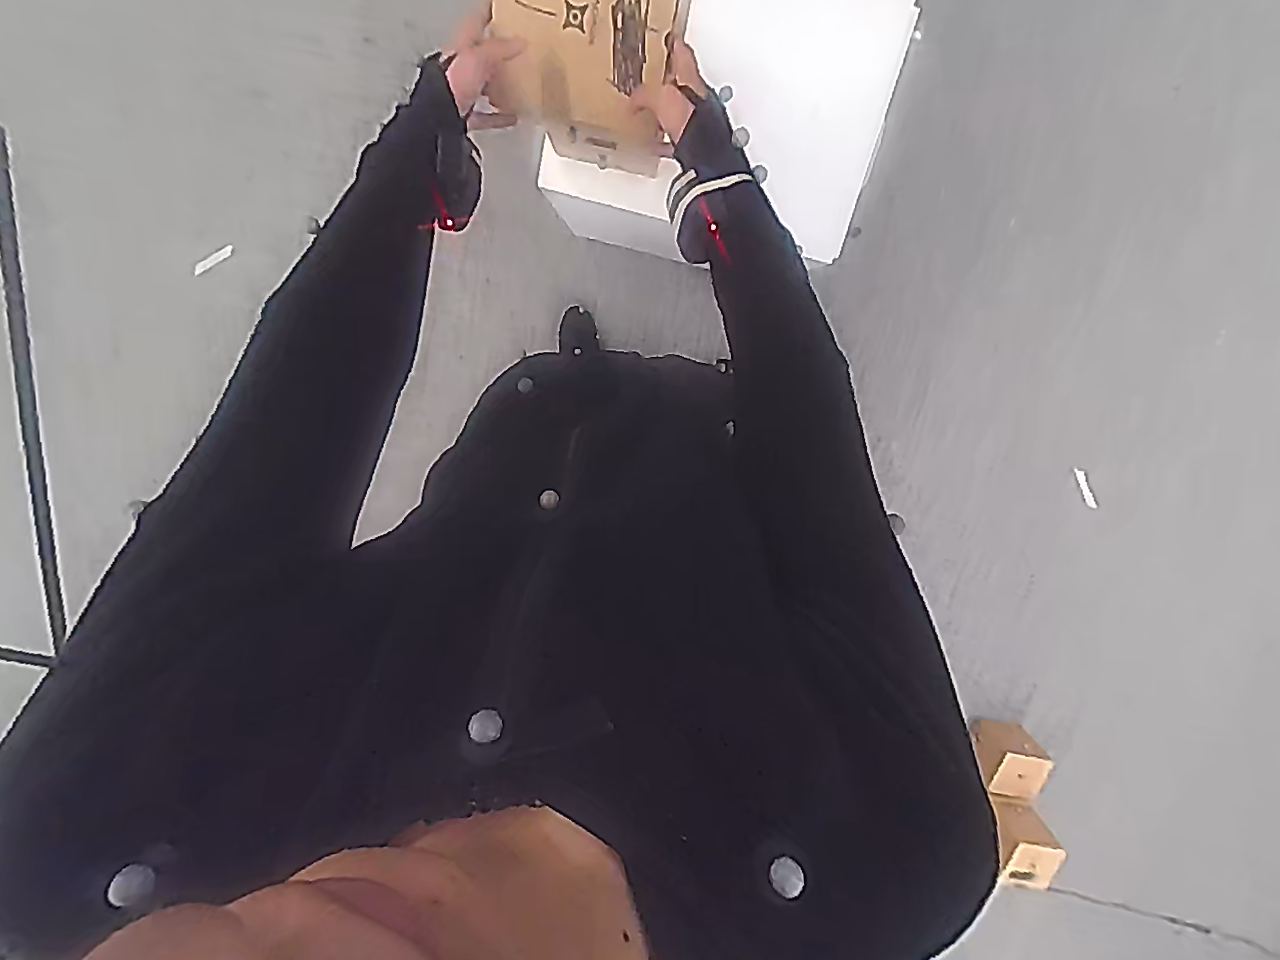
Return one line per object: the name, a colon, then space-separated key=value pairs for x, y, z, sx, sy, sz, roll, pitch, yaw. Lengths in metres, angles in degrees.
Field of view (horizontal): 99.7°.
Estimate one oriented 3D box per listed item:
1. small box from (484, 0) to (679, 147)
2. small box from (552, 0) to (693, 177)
small box: x=-0.055 y=-0.468 z=0.578 sx=0.179 sy=0.176 sz=0.168 roll=10 pitch=118 yaw=-3
small box: x=-0.033 y=-0.553 z=0.754 sx=0.168 sy=0.176 sz=0.179 roll=12 pitch=107 yaw=-4
